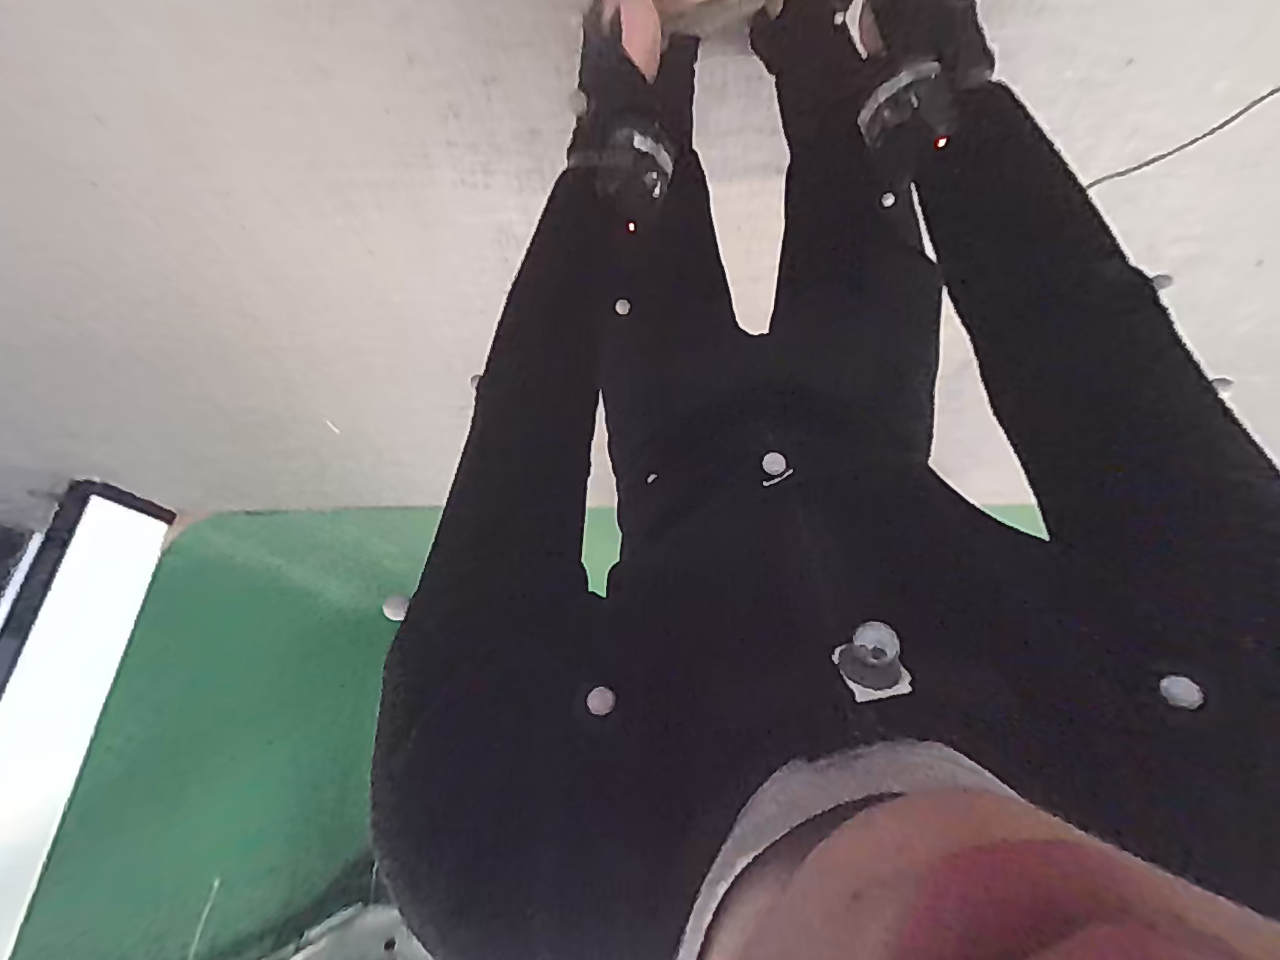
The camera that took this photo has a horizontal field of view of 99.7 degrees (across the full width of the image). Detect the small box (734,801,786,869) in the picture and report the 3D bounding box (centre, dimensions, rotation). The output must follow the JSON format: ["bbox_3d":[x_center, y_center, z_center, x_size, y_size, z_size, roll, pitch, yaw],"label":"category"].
[{"bbox_3d":[0.417,1.235,1.893,0.168,0.176,0.179,-2,158,12],"label":"small box"}]

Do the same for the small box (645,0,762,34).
[{"bbox_3d":[0.081,-0.479,0.408,0.168,0.176,0.179,-4,126,27],"label":"small box"}]
